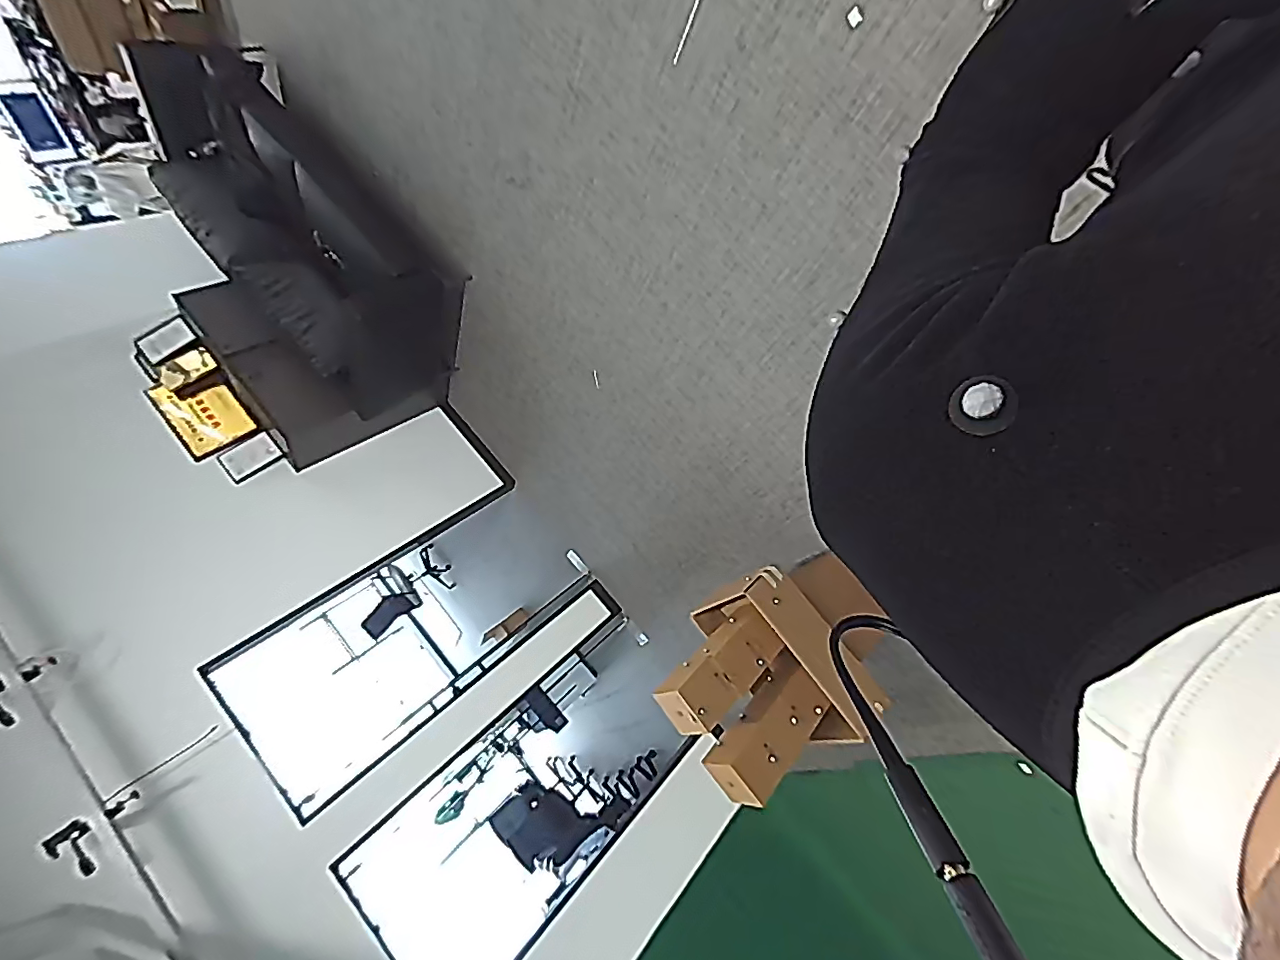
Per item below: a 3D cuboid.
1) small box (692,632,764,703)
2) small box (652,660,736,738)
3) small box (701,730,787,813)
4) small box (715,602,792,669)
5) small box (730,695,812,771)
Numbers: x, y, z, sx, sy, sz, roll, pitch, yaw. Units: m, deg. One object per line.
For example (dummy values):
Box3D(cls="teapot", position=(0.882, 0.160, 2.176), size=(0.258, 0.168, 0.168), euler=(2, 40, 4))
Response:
Box3D(cls="small box", position=(0.298, 0.640, 1.847), size=(0.168, 0.176, 0.179), euler=(53, 145, 3))
Box3D(cls="small box", position=(0.178, 0.711, 1.759), size=(0.168, 0.176, 0.179), euler=(53, 145, 3))
Box3D(cls="small box", position=(0.339, 0.933, 1.749), size=(0.168, 0.176, 0.179), euler=(51, 145, 4))
Box3D(cls="small box", position=(0.409, 0.564, 1.941), size=(0.168, 0.176, 0.179), euler=(53, 144, 4))
Box3D(cls="small box", position=(0.450, 0.857, 1.841), size=(0.168, 0.176, 0.179), euler=(51, 145, 5))
